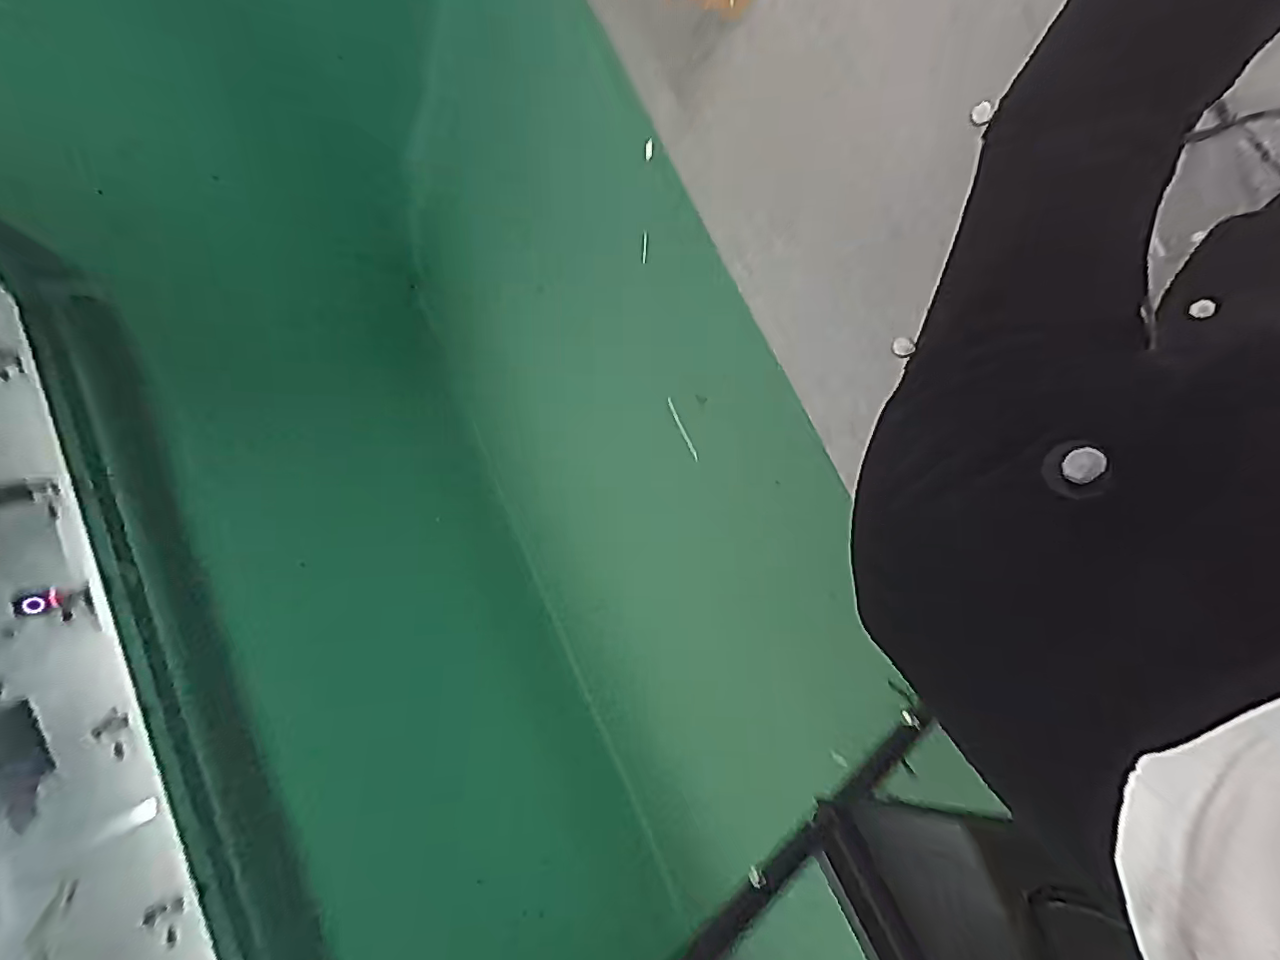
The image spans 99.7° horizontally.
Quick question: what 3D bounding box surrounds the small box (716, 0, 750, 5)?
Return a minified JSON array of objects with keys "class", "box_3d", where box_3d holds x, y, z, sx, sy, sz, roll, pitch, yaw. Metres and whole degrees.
[{"class":"small box","box_3d":[0.293,-1.595,1.637,0.168,0.176,0.179,-29,81,56]}]
